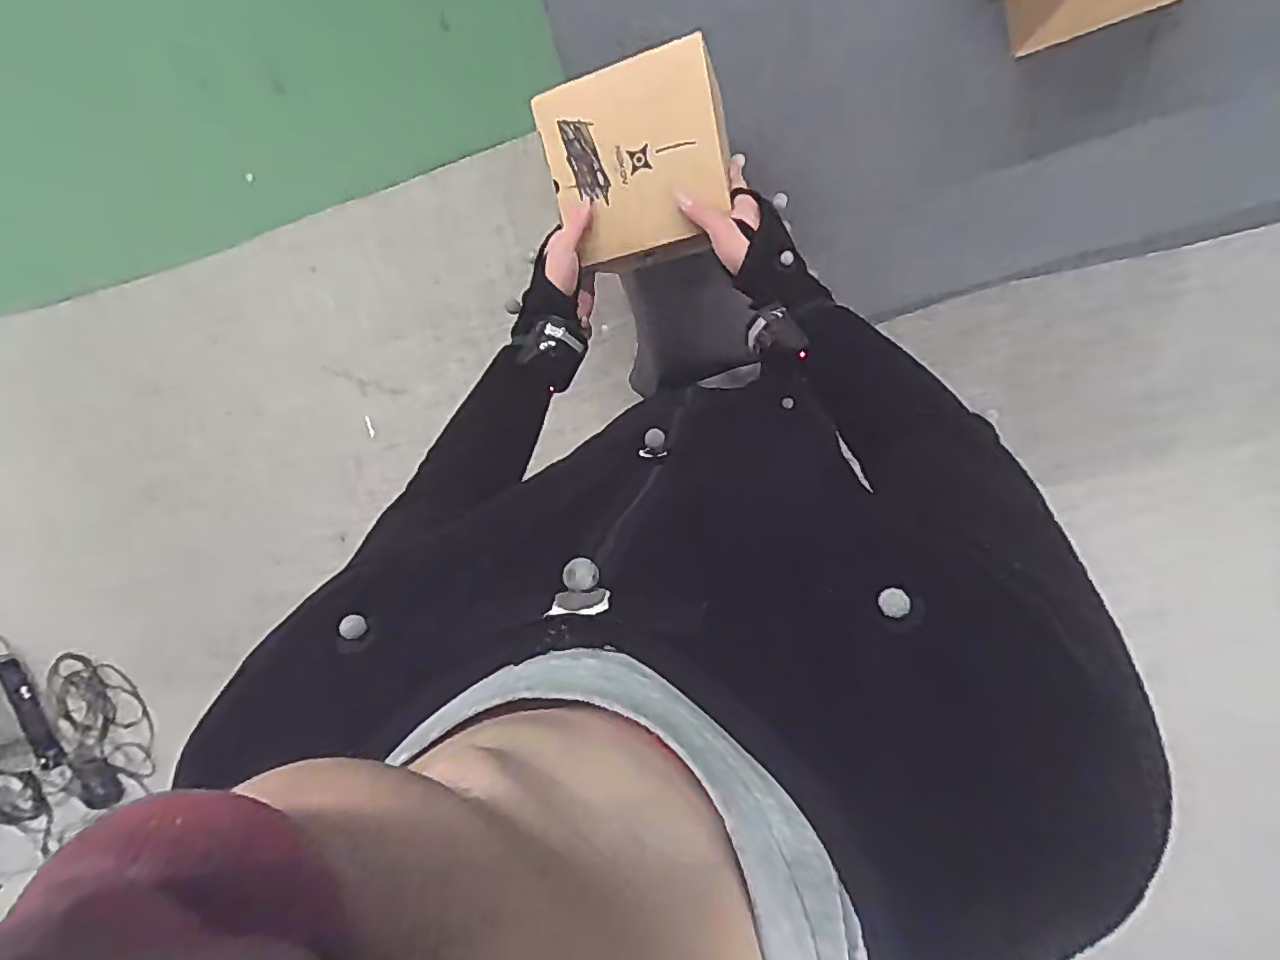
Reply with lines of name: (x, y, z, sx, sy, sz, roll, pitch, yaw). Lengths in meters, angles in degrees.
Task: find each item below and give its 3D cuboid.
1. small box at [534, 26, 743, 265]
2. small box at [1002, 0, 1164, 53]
small box: (0.013, -0.339, 0.592, 0.179, 0.176, 0.168, -8, 108, 15)
small box: (0.489, -0.577, 0.532, 0.179, 0.176, 0.168, -14, 102, 12)
